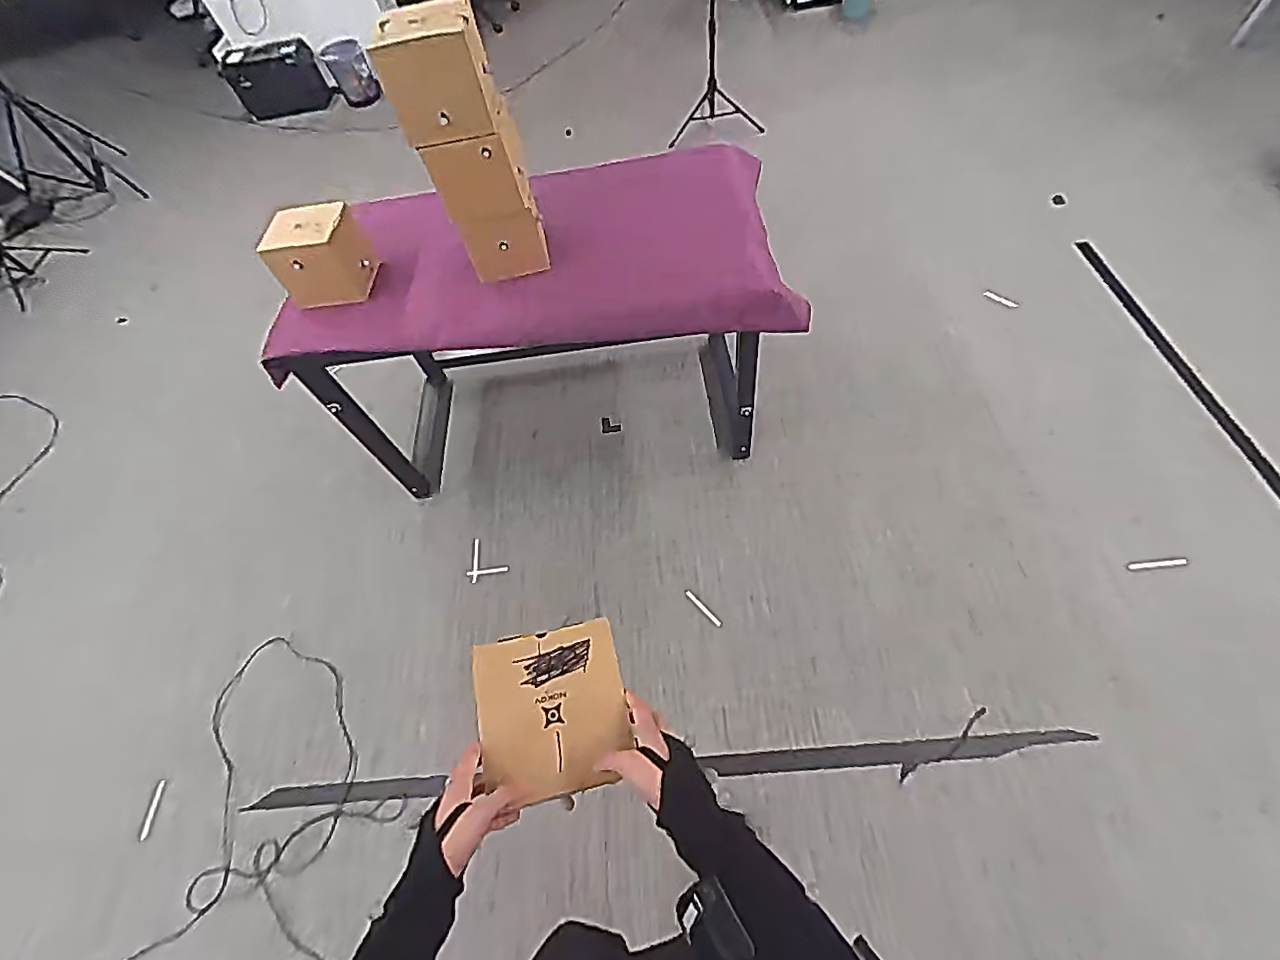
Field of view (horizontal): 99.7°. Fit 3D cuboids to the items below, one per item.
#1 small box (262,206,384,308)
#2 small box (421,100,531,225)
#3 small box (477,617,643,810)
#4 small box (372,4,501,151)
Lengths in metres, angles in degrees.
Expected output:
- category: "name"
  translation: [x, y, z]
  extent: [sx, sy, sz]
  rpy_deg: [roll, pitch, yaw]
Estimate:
- category: "small box"
  translation: [-0.772, -0.544, 1.337]
  extent: [0.179, 0.176, 0.168]
  rpy_deg: [-4, 57, 4]
- category: "small box"
  translation: [-0.348, -0.683, 1.175]
  extent: [0.179, 0.176, 0.168]
  rpy_deg: [-9, 58, 2]
- category: "small box"
  translation: [-0.100, 0.294, 0.677]
  extent: [0.168, 0.176, 0.179]
  rpy_deg: [-11, 62, -10]
- category: "small box"
  translation: [-0.376, -0.765, 1.036]
  extent: [0.179, 0.176, 0.168]
  rpy_deg: [-8, 57, 2]
